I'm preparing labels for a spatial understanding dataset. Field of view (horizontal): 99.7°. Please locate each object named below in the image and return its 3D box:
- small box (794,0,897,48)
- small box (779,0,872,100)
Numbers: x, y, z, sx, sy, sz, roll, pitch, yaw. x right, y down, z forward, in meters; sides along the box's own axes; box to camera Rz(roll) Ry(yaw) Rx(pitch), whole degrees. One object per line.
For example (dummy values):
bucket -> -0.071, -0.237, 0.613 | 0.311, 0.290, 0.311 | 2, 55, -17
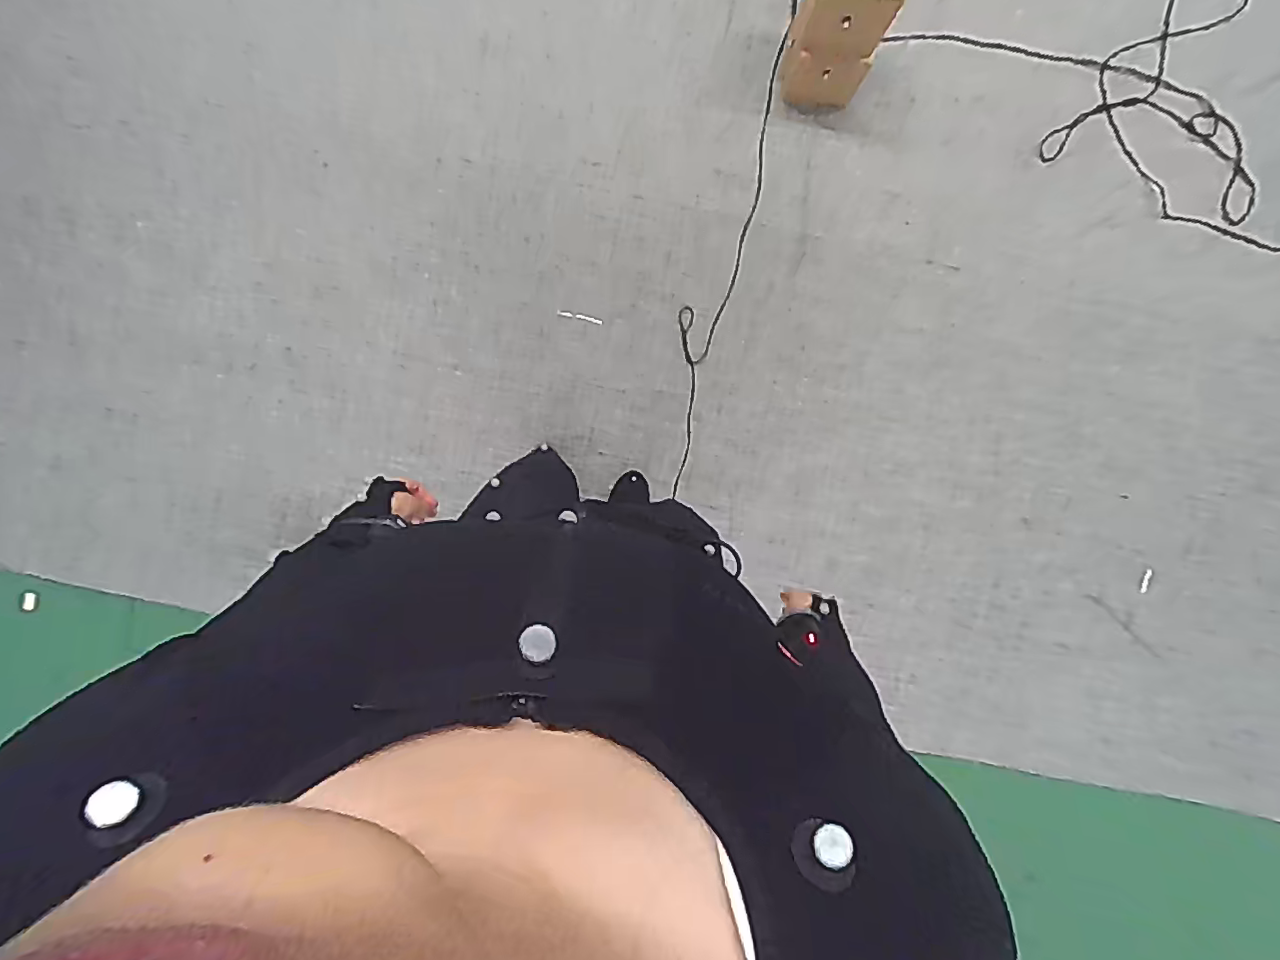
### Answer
small box -> 0.447, -1.069, 1.152 | 0.179, 0.176, 0.168 | 8, 93, 0
small box -> 0.448, -1.062, 1.317 | 0.179, 0.176, 0.168 | 4, 95, -1
